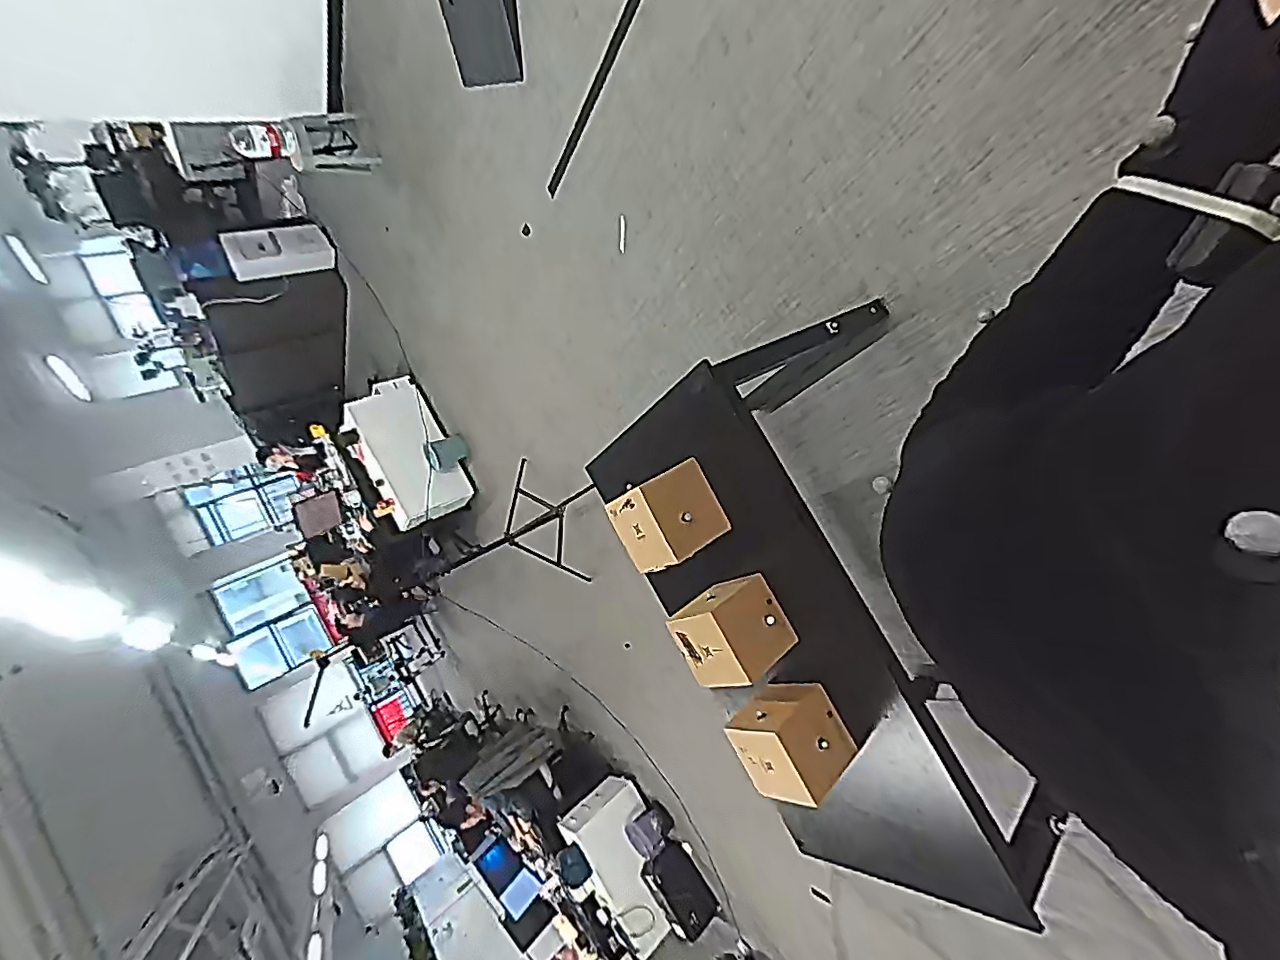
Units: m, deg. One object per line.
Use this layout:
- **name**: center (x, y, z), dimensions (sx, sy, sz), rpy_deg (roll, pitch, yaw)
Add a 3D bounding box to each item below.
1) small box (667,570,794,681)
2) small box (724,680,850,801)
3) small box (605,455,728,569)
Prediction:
- **small box**: center (0.197, 0.316, 1.175), dimensions (0.168, 0.176, 0.179), rpy_deg (60, 146, 3)
- **small box**: center (0.323, 0.549, 1.168), dimensions (0.168, 0.176, 0.179), rpy_deg (61, 146, 3)
- **small box**: center (0.060, 0.071, 1.188), dimensions (0.168, 0.176, 0.179), rpy_deg (-29, 90, 56)
